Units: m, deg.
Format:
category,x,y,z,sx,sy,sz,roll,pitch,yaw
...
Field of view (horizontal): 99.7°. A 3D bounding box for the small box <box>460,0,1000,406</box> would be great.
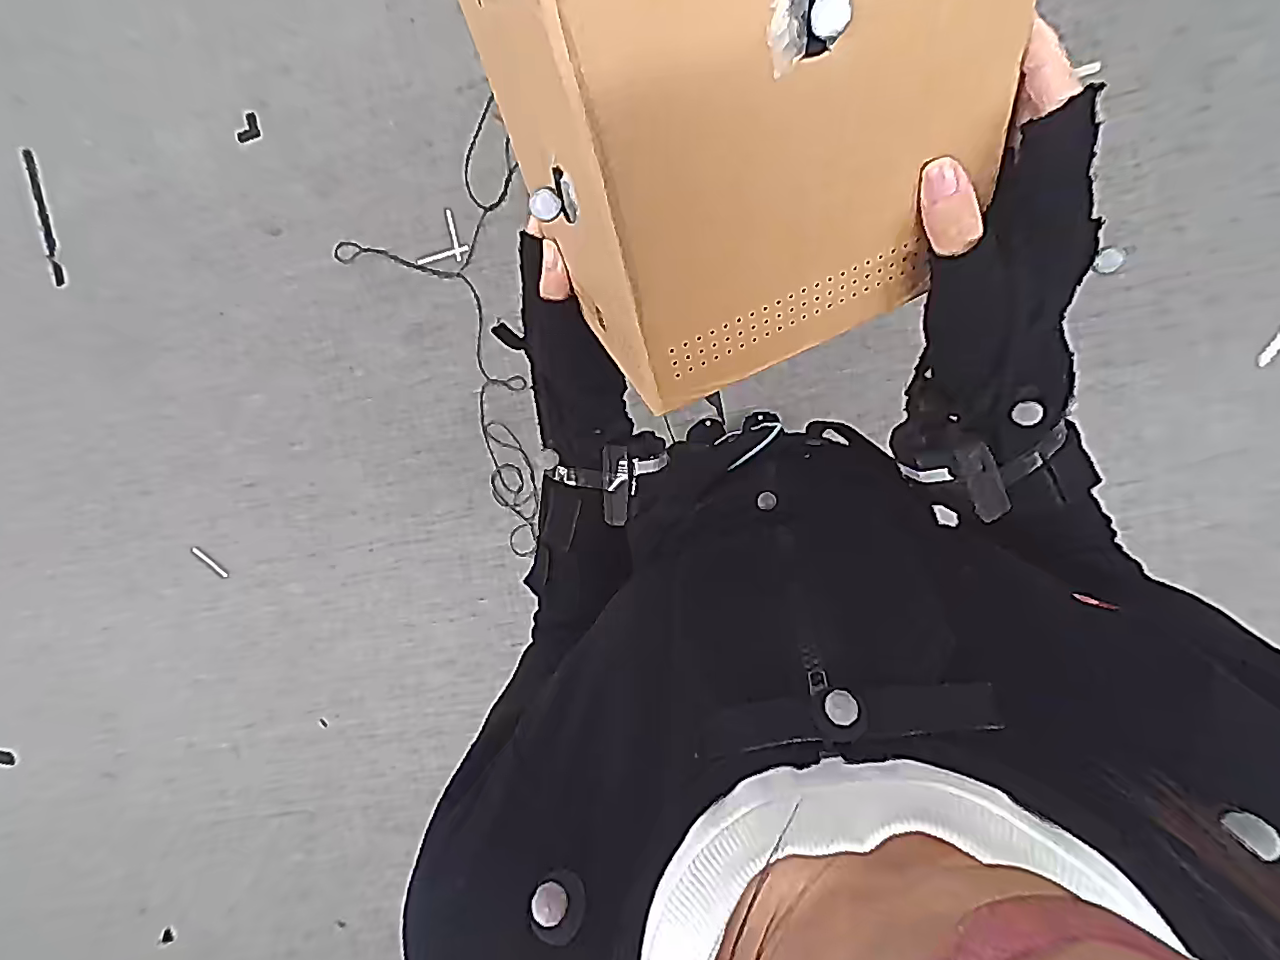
category,x,y,z,sx,sy,sz,roll,pitch,yaw
small box,0.039,-0.164,0.259,0.179,0.168,0.176,-25,136,-5
